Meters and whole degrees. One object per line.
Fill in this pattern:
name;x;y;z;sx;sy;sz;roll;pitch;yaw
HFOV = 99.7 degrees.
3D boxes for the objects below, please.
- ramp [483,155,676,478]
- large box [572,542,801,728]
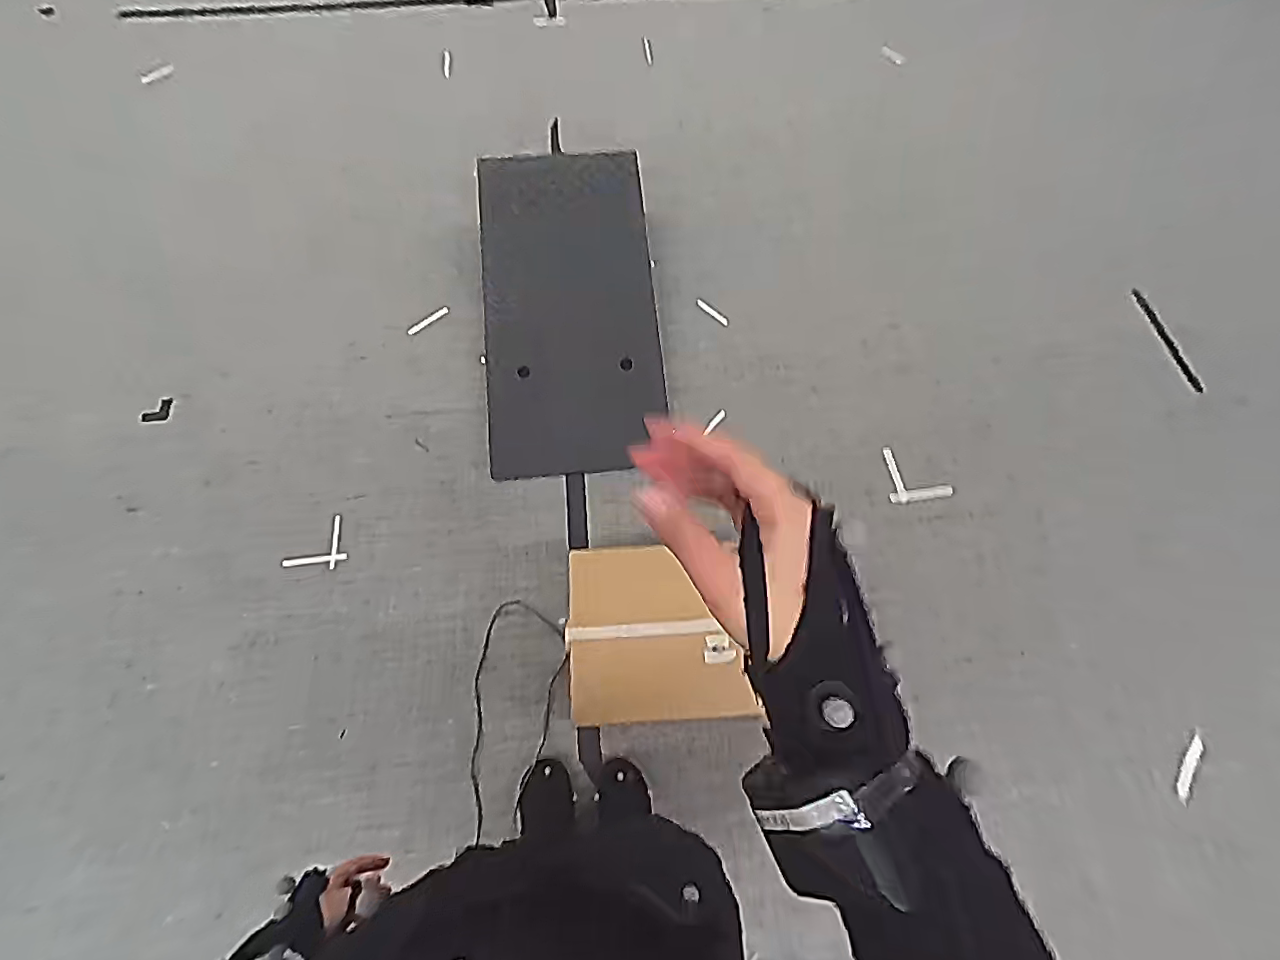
ramp;-0.188;-0.508;1.561;0.509;0.206;0.991;-6;67;-5
large box;0.070;0.335;1.131;0.408;0.320;0.320;-2;66;-3
